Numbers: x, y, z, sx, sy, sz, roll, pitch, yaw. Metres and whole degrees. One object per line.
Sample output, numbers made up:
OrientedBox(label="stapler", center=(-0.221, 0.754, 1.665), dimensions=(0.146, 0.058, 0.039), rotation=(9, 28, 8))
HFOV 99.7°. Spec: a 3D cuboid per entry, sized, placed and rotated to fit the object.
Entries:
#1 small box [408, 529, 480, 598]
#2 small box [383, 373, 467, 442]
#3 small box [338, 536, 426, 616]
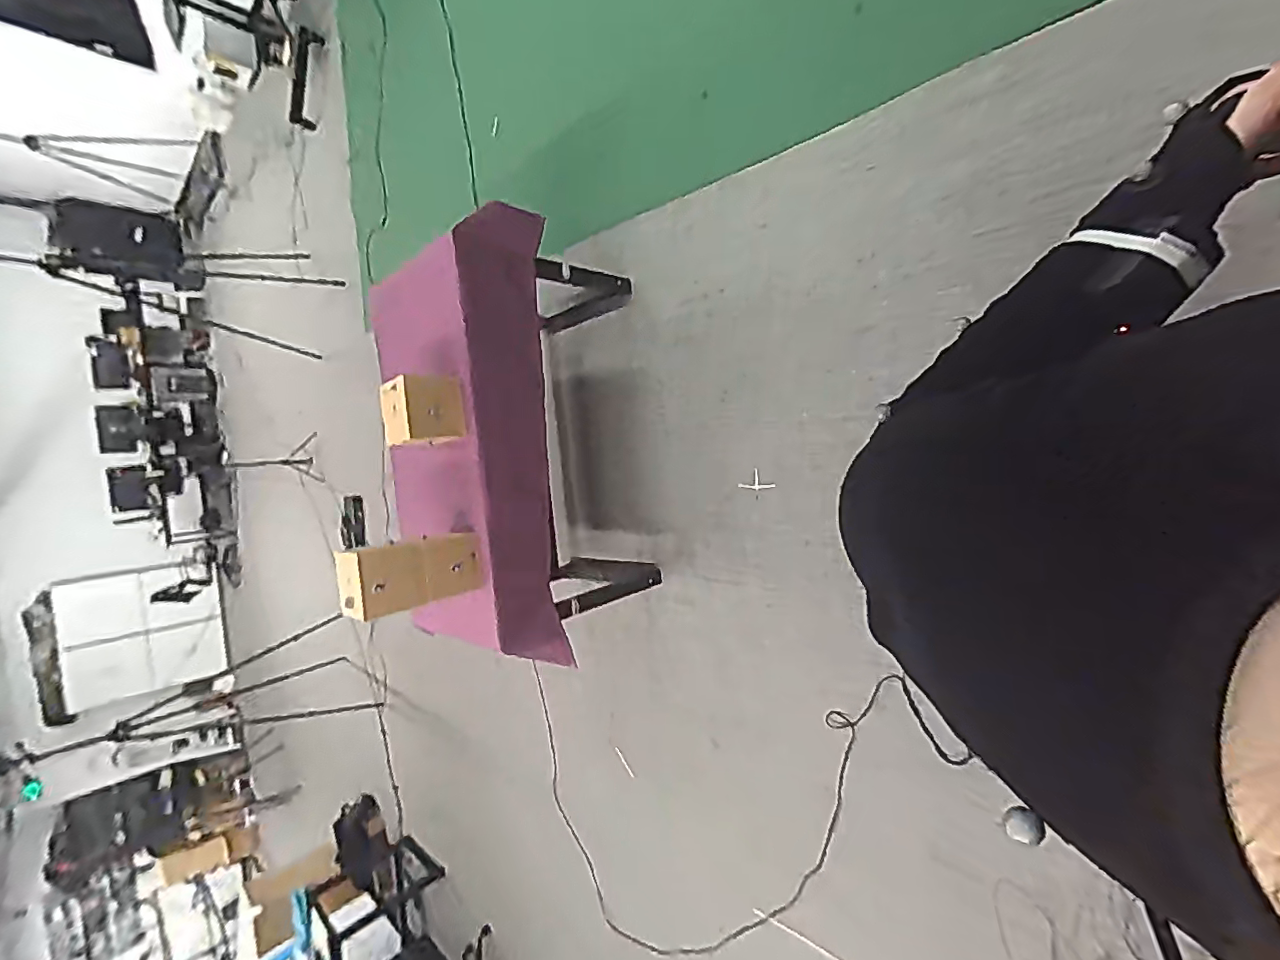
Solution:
OrientedBox(label="small box", center=(-0.581, 0.237, 1.581), dimensions=(0.179, 0.176, 0.168), rotation=(-3, 92, 44))
OrientedBox(label="small box", center=(-0.615, -0.209, 1.559), dimensions=(0.168, 0.176, 0.179), rotation=(-5, 93, 44))
OrientedBox(label="small box", center=(-0.693, 0.252, 1.462), dimensions=(0.168, 0.176, 0.179), rotation=(-4, 92, 44))
